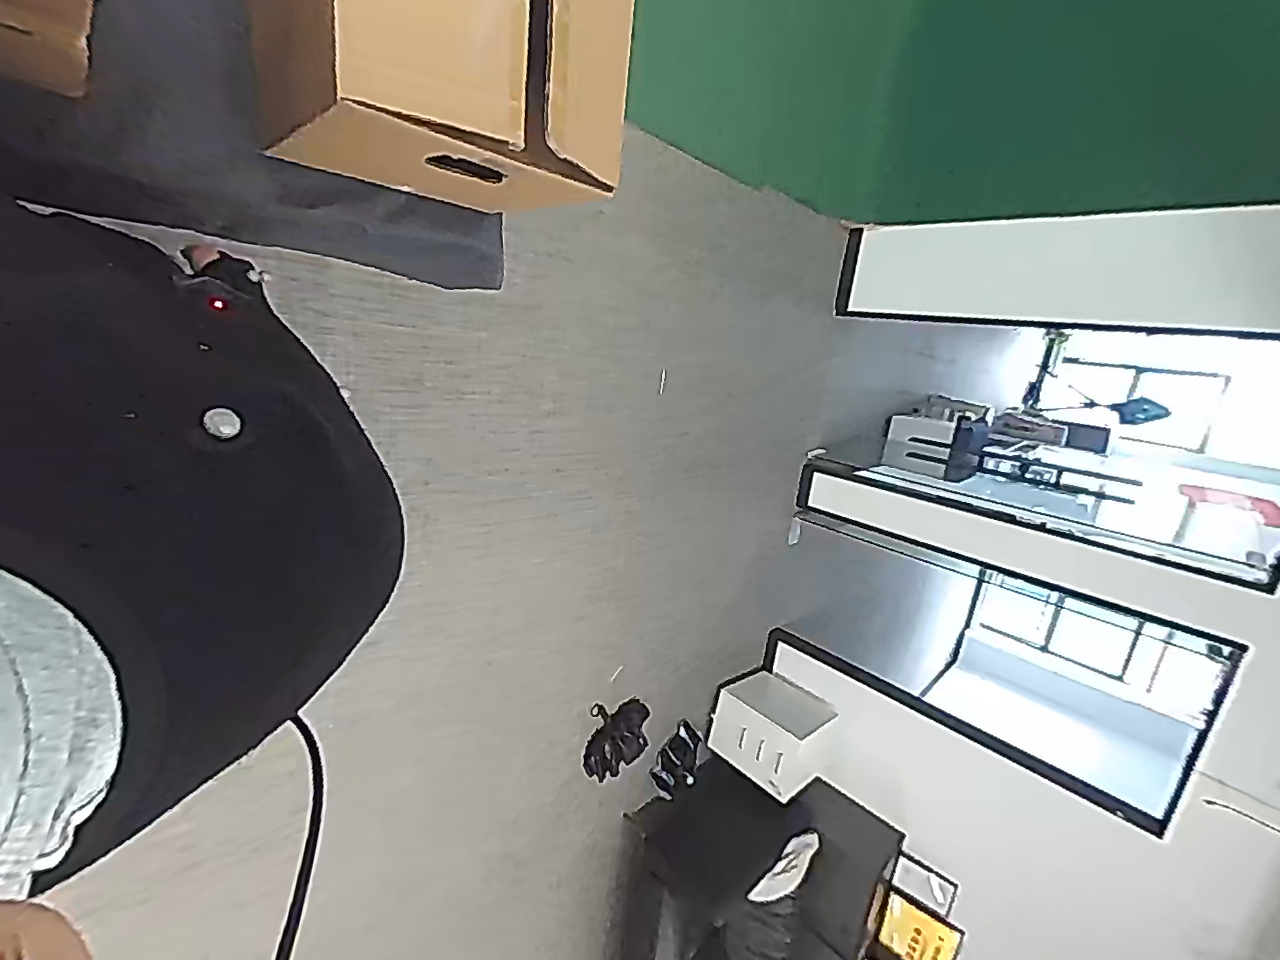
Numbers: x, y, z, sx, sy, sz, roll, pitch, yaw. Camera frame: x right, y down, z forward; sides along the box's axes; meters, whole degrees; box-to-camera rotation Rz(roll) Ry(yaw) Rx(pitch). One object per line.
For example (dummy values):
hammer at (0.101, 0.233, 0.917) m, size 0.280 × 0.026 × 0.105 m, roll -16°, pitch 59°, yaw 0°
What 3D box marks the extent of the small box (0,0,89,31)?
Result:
small box at (-0.435, -0.408, 0.305) m, size 0.168 × 0.176 × 0.179 m, roll -9°, pitch 109°, yaw -47°
